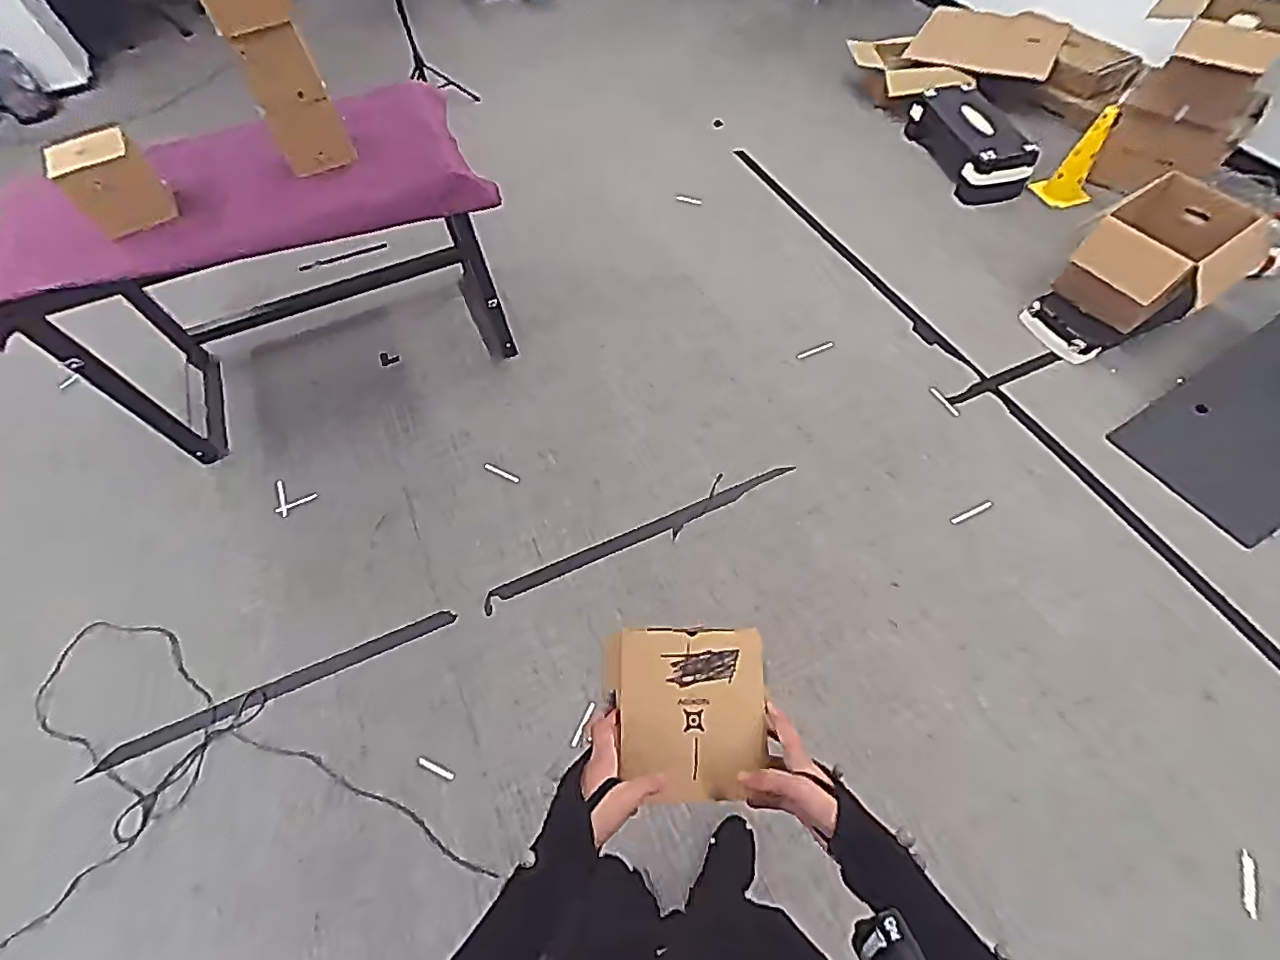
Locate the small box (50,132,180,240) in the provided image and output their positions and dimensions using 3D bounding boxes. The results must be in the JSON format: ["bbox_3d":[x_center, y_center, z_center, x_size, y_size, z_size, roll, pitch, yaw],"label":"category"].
[{"bbox_3d":[-1.350,-0.753,1.396,0.179,0.176,0.168,-29,62,-14],"label":"small box"}]

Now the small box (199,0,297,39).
[{"bbox_3d":[-0.920,-1.135,1.219,0.179,0.176,0.168,-28,62,-13],"label":"small box"}]

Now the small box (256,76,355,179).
[{"bbox_3d":[-0.922,-0.979,1.508,0.179,0.176,0.168,-25,61,-12],"label":"small box"}]

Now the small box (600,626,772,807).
[{"bbox_3d":[0.042,0.272,0.652,0.168,0.176,0.179,3,72,-11],"label":"small box"}]
